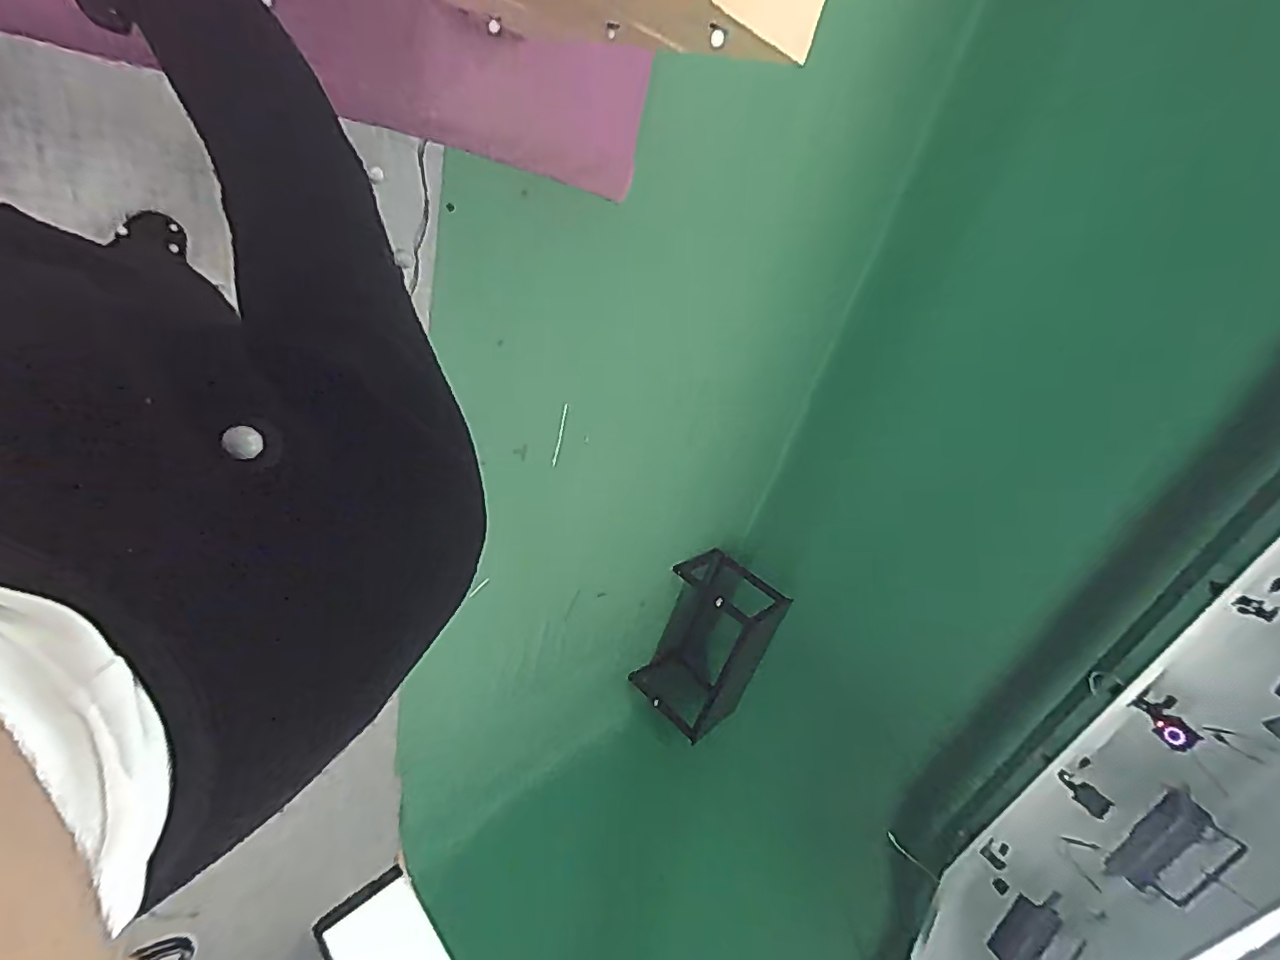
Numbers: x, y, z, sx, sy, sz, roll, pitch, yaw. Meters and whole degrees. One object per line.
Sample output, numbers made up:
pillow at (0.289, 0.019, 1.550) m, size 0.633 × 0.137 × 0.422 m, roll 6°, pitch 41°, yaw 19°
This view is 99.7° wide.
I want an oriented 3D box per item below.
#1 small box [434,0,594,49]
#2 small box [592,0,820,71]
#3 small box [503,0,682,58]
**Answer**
small box at (-0.159, -0.686, 0.690) m, size 0.179 × 0.176 × 0.168 m, roll -18°, pitch 133°, yaw -45°
small box at (0.073, -0.528, 0.522) m, size 0.179 × 0.176 × 0.168 m, roll -18°, pitch 134°, yaw -45°
small box at (-0.044, -0.607, 0.605) m, size 0.179 × 0.176 × 0.168 m, roll -16°, pitch 133°, yaw -46°
